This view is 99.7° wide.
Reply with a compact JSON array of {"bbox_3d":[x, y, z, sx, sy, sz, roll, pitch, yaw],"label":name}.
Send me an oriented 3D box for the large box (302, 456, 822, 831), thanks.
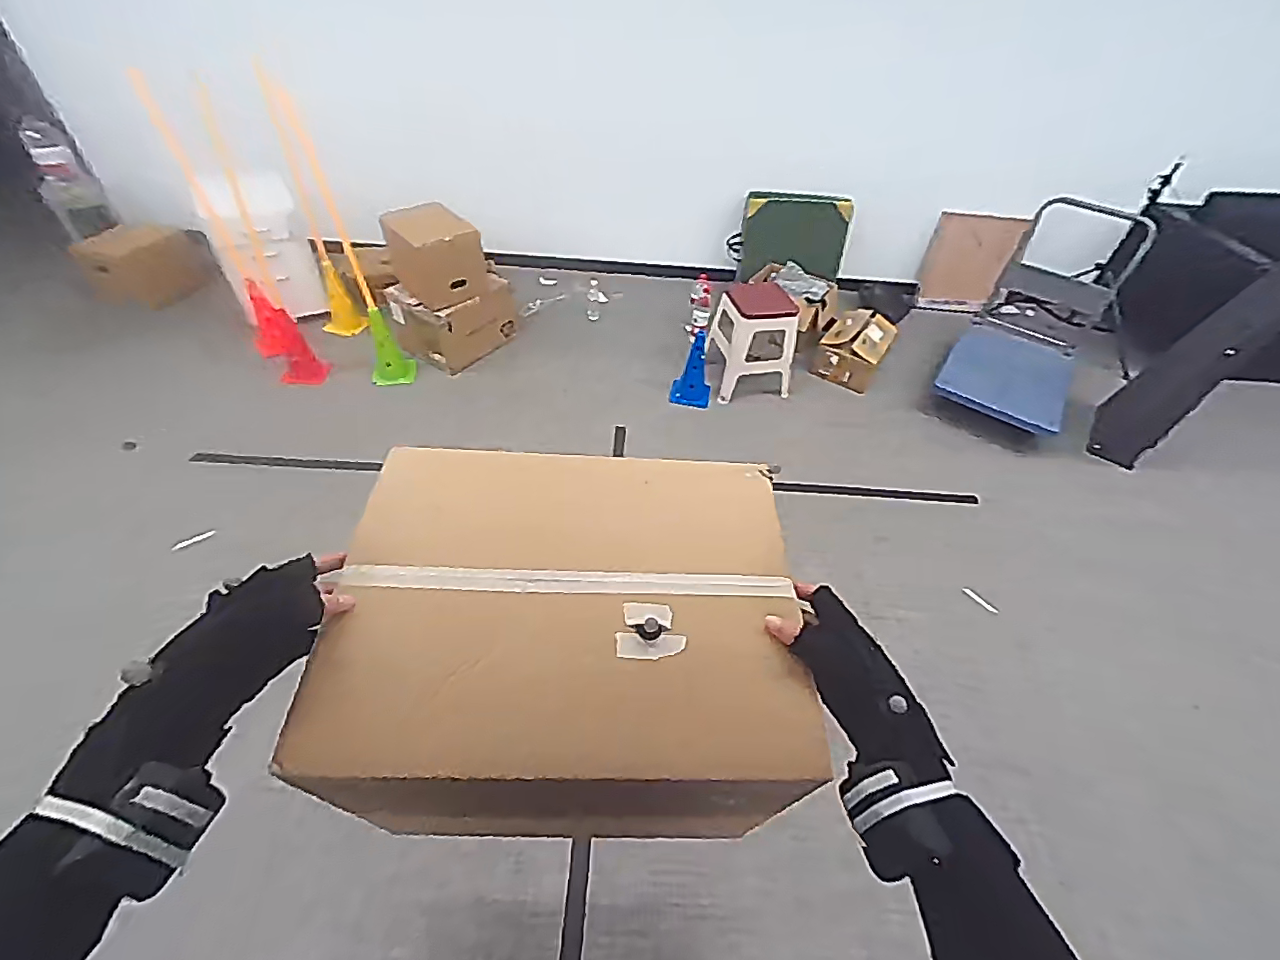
[{"bbox_3d":[-0.069,0.195,0.616,0.408,0.320,0.320,3,51,-4],"label":"large box"}]
